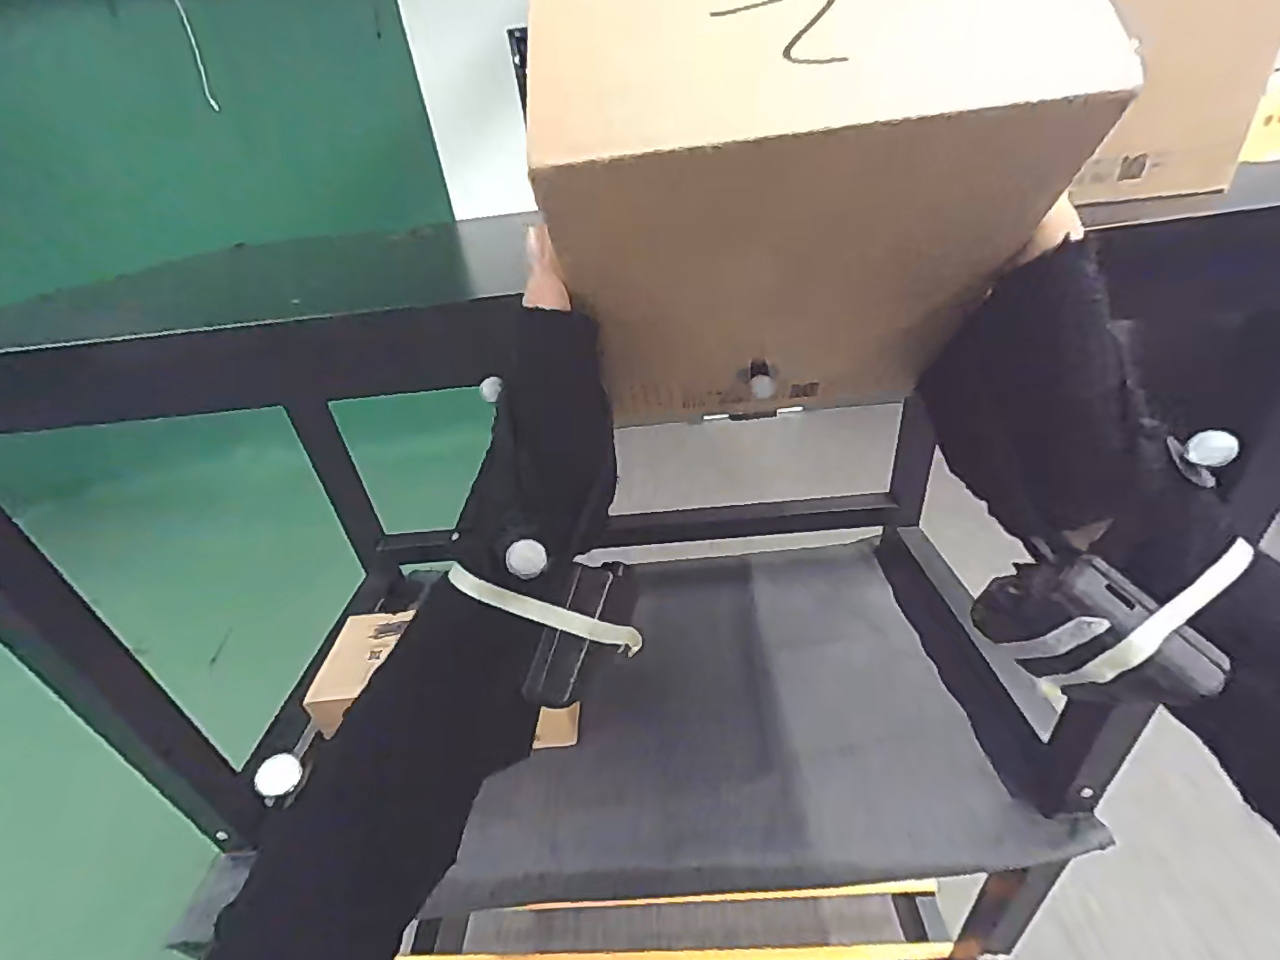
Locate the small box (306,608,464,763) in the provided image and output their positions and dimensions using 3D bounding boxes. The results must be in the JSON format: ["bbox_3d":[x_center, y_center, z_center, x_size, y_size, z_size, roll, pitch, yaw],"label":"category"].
[{"bbox_3d":[-0.411,0.343,0.912,0.168,0.176,0.179,-7,32,2],"label":"small box"}]
